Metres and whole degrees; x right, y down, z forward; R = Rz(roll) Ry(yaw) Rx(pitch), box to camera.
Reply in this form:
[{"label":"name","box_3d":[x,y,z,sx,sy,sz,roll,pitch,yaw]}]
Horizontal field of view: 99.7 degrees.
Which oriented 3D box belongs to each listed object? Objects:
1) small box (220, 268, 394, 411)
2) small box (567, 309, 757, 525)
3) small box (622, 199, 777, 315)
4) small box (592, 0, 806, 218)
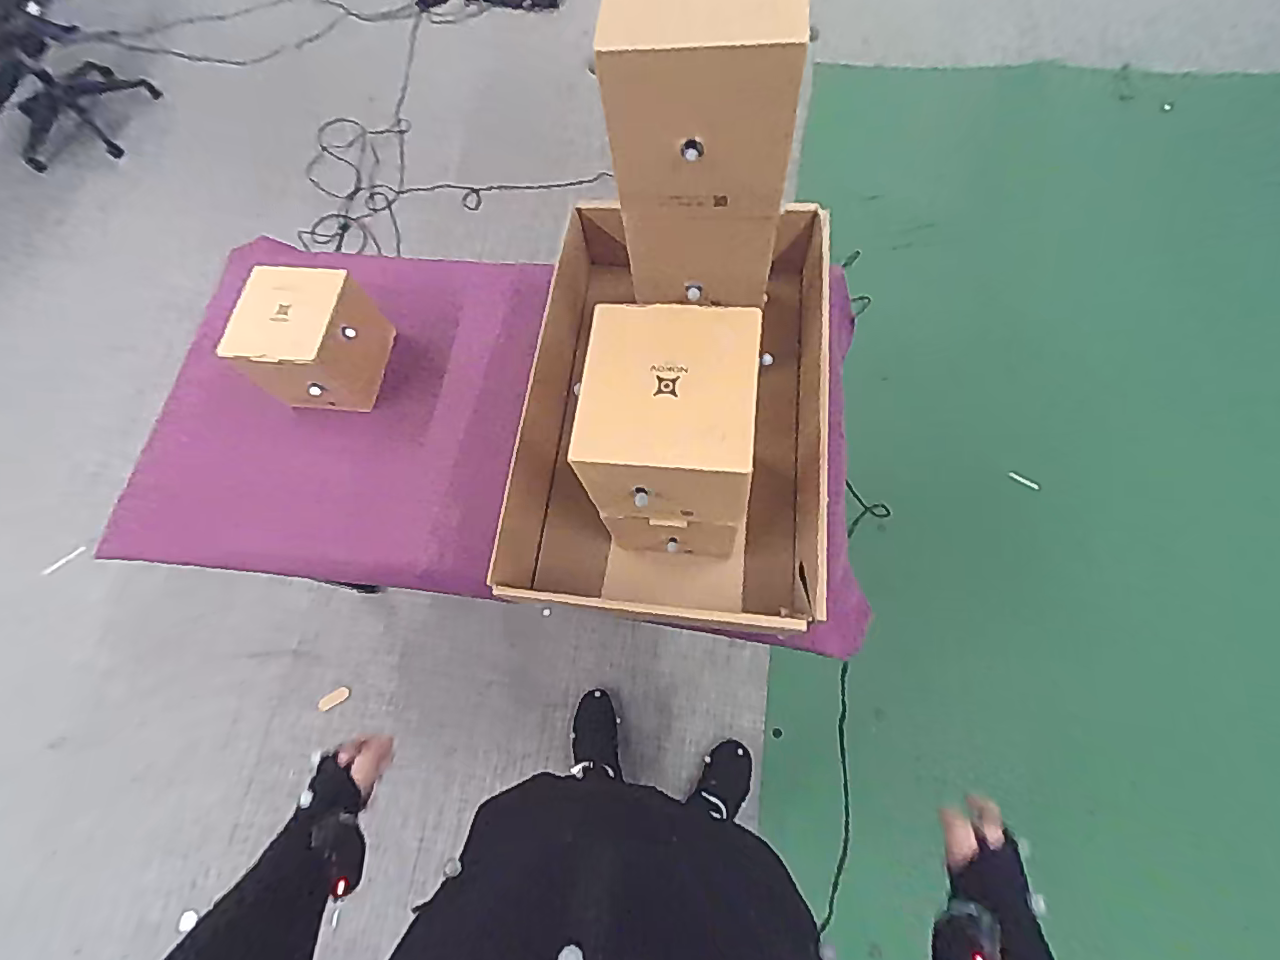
[{"label":"small box","box_3d":[-0.553,-0.234,0.928,0.168,0.176,0.179,6,70,6]},{"label":"small box","box_3d":[0.033,-0.059,0.579,0.168,0.176,0.179,4,68,9]},{"label":"small box","box_3d":[0.078,-0.325,0.670,0.168,0.176,0.179,3,72,8]},{"label":"small box","box_3d":[0.061,-0.376,0.513,0.168,0.176,0.179,5,71,8]}]
